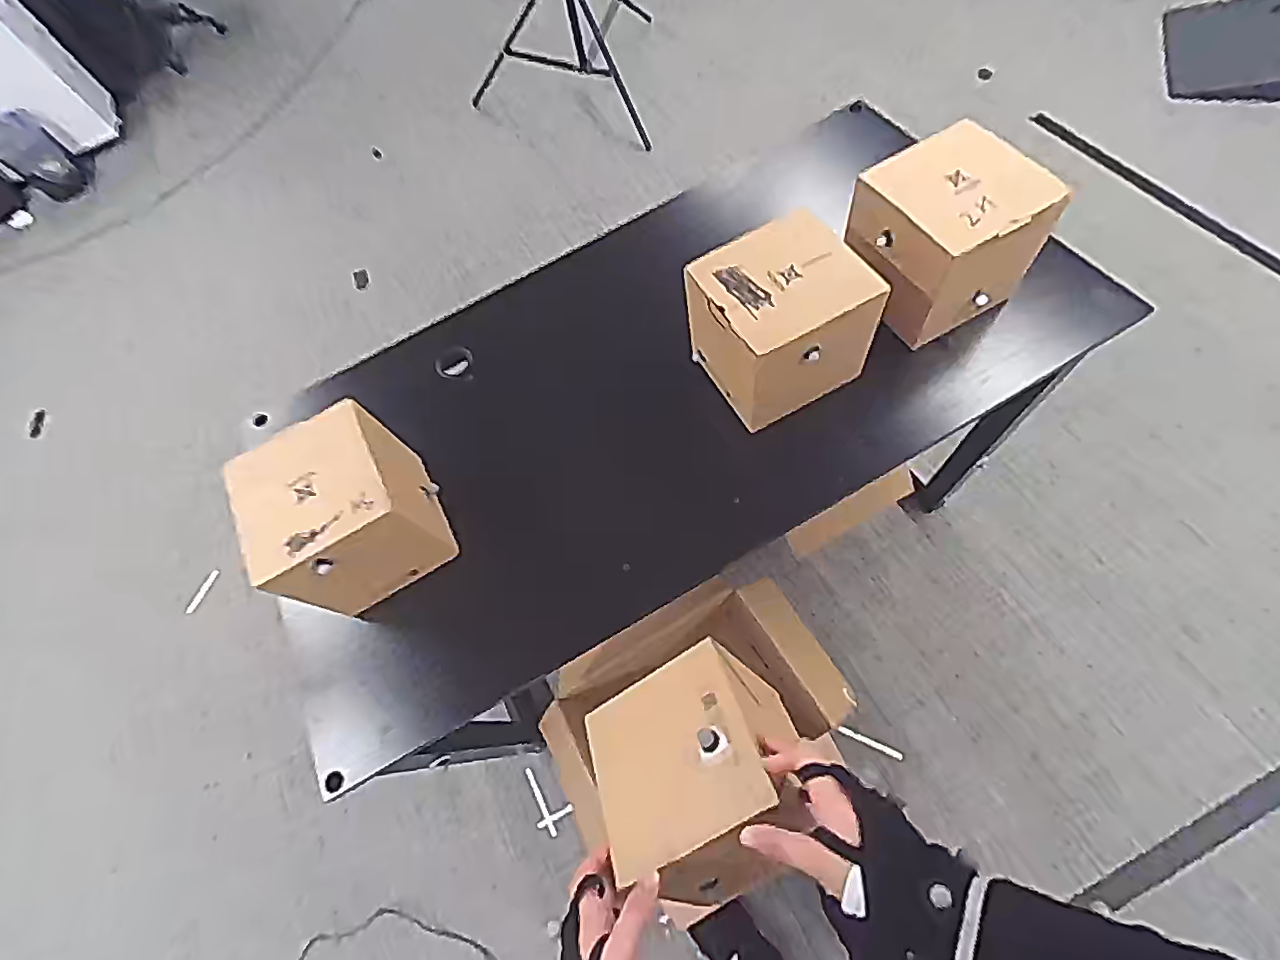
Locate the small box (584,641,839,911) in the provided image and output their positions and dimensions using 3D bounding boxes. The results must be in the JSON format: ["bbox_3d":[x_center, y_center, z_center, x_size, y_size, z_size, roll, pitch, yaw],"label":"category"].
[{"bbox_3d":[0.072,0.299,0.548,0.176,0.179,0.168,-36,38,9],"label":"small box"}]

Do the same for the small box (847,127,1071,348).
[{"bbox_3d":[0.393,-0.311,0.715,0.168,0.176,0.179,-29,64,-2],"label":"small box"}]

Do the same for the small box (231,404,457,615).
[{"bbox_3d":[-0.362,0.044,0.681,0.168,0.176,0.179,-30,64,-5],"label":"small box"}]

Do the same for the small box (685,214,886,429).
[{"bbox_3d":[0.177,-0.195,0.700,0.179,0.176,0.168,-28,64,-4],"label":"small box"}]
